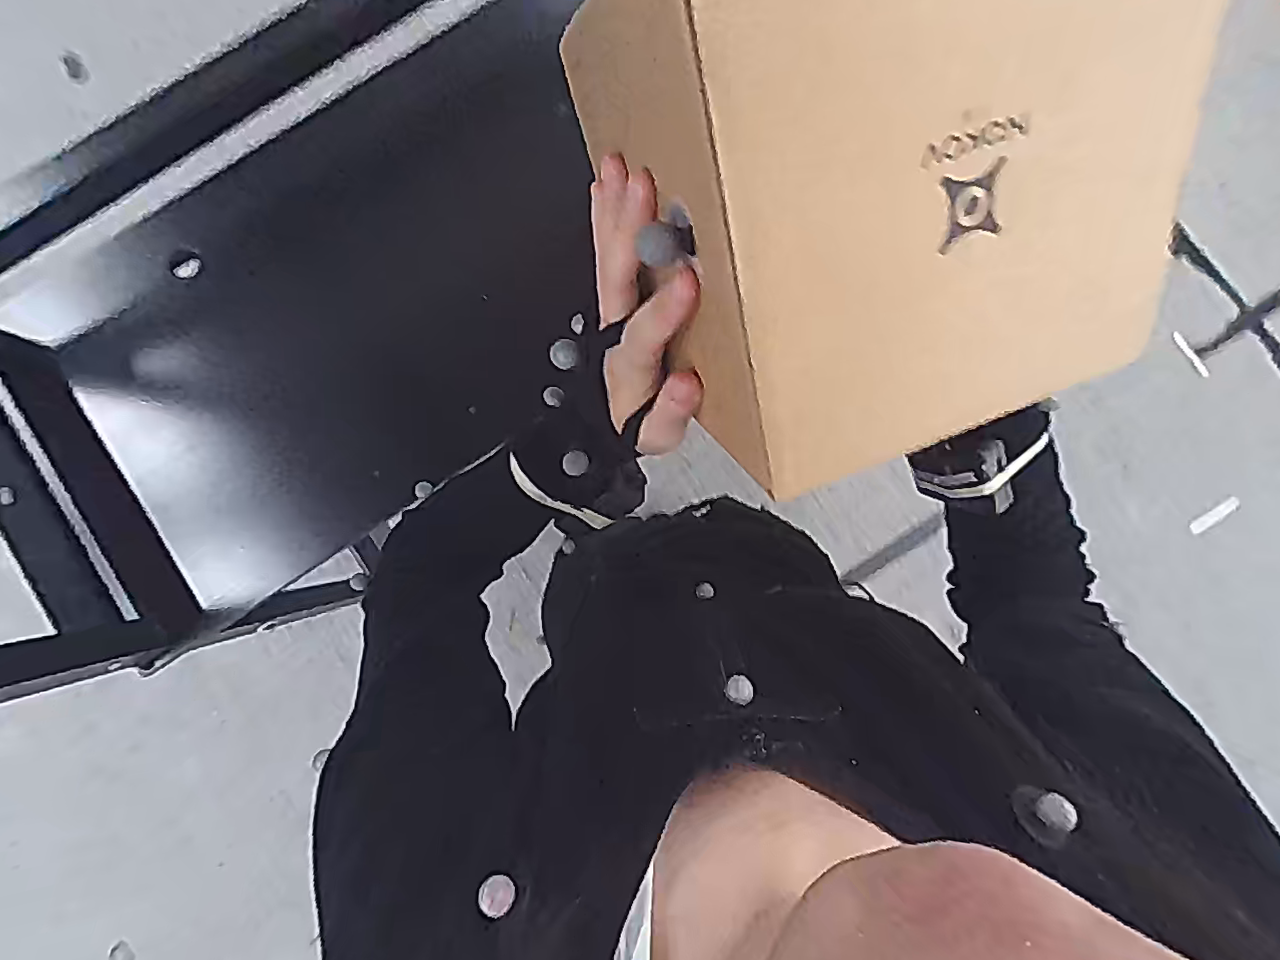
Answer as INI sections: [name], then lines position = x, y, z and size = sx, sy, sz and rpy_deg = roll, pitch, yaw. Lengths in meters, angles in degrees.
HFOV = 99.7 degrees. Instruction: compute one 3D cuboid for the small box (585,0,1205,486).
[small box]
position = 0.084, -0.129, 0.247
size = 0.168, 0.176, 0.179
rpy_deg = -20, 119, -5
